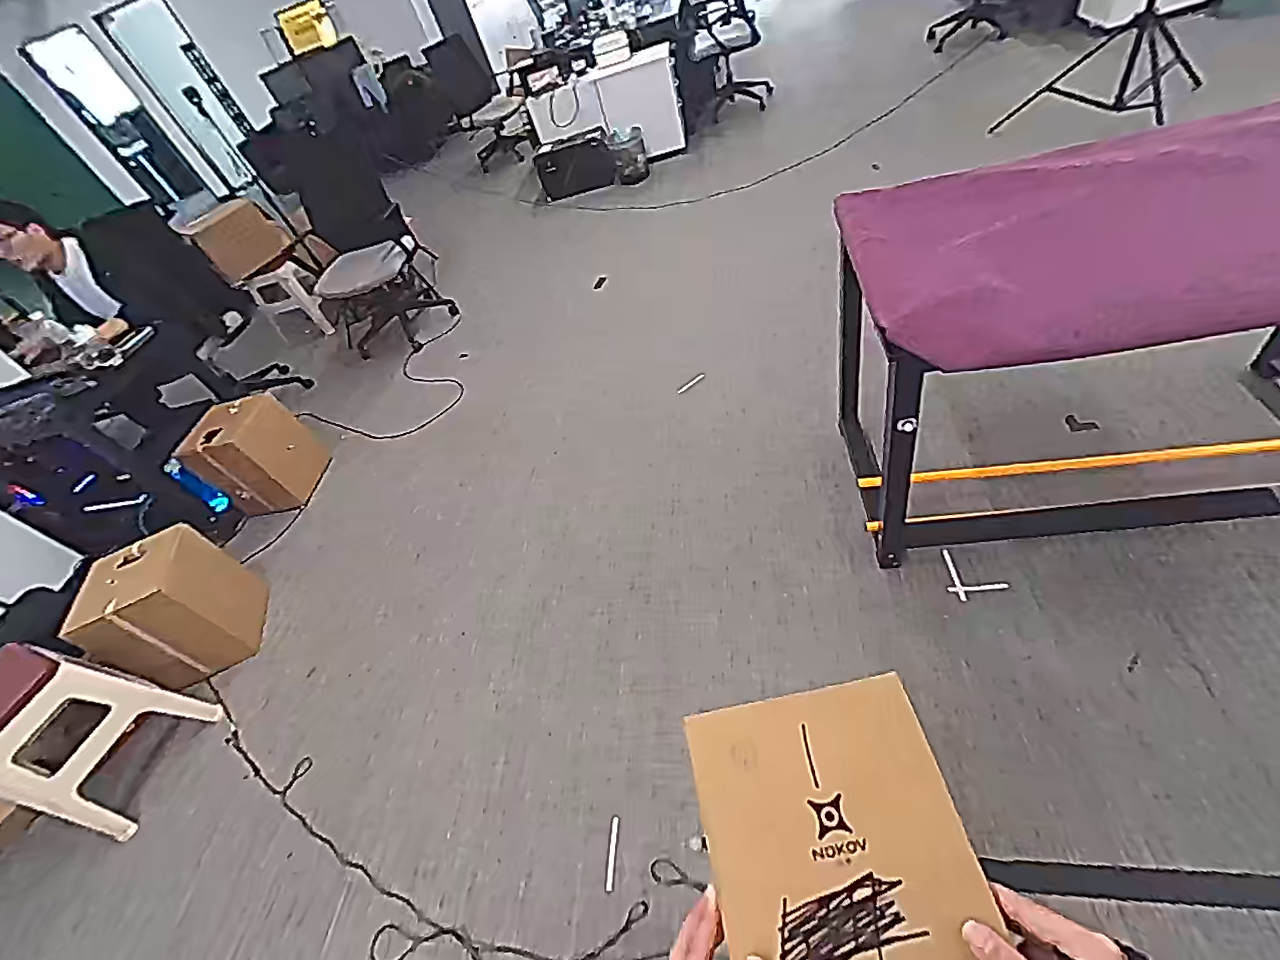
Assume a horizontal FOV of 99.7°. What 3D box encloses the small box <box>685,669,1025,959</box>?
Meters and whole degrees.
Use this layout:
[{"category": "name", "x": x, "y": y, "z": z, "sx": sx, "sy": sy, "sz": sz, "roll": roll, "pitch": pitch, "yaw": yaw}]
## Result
[{"category": "small box", "x": 0.135, "y": 0.266, "z": 0.412, "sx": 0.168, "sy": 0.176, "sz": 0.179, "roll": -11, "pitch": 56, "yaw": 0}]
